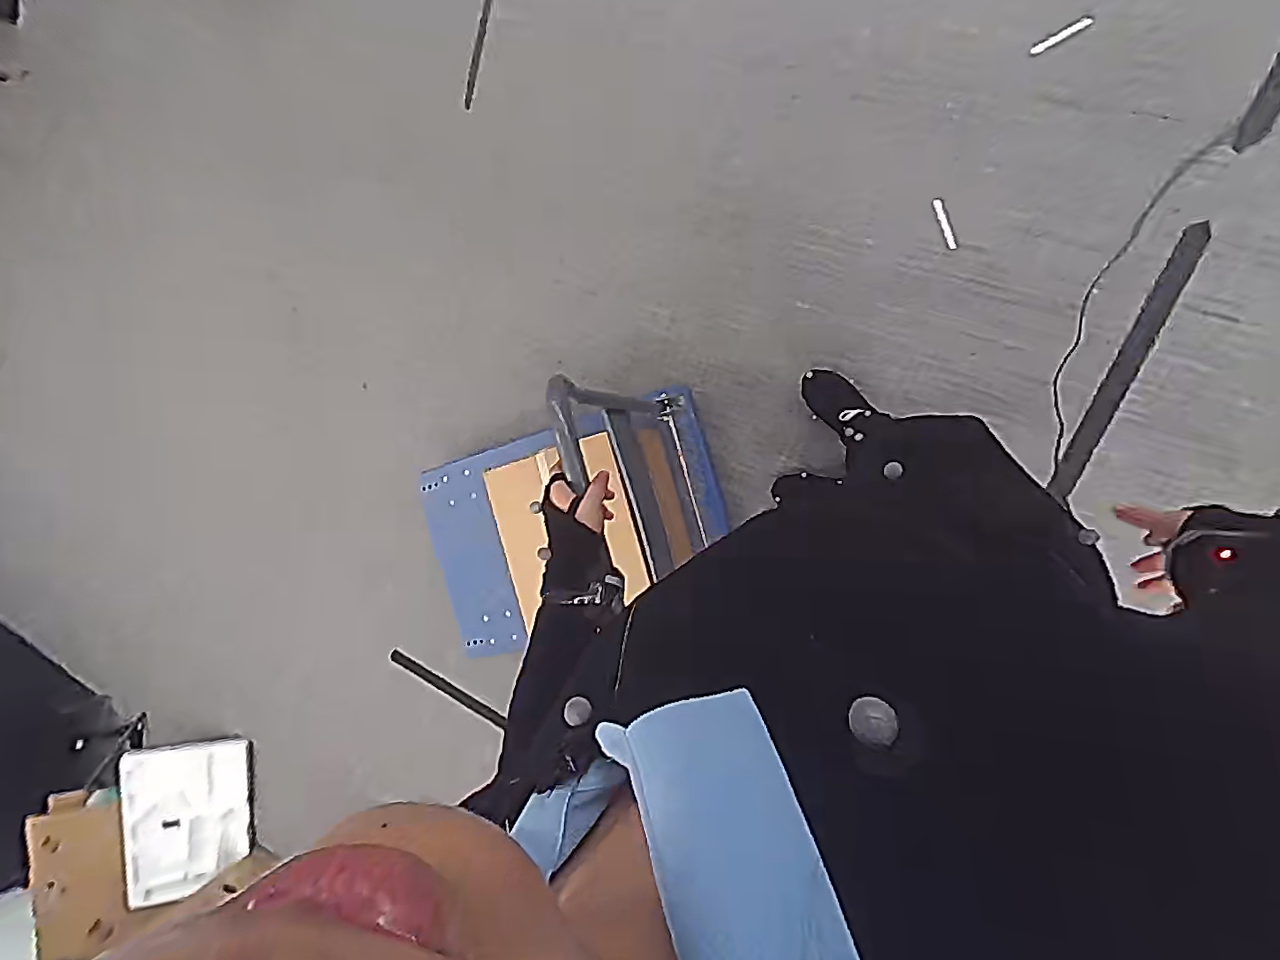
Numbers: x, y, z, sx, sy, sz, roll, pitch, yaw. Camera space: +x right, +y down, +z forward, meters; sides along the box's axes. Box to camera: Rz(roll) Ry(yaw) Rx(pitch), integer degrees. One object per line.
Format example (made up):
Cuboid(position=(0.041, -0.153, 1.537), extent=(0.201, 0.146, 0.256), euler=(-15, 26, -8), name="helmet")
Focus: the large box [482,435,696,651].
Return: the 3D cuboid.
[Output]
Cuboid(position=(-0.100, 0.129, 1.250), extent=(0.320, 0.320, 0.408), euler=(-16, 89, 21), name="large box")
